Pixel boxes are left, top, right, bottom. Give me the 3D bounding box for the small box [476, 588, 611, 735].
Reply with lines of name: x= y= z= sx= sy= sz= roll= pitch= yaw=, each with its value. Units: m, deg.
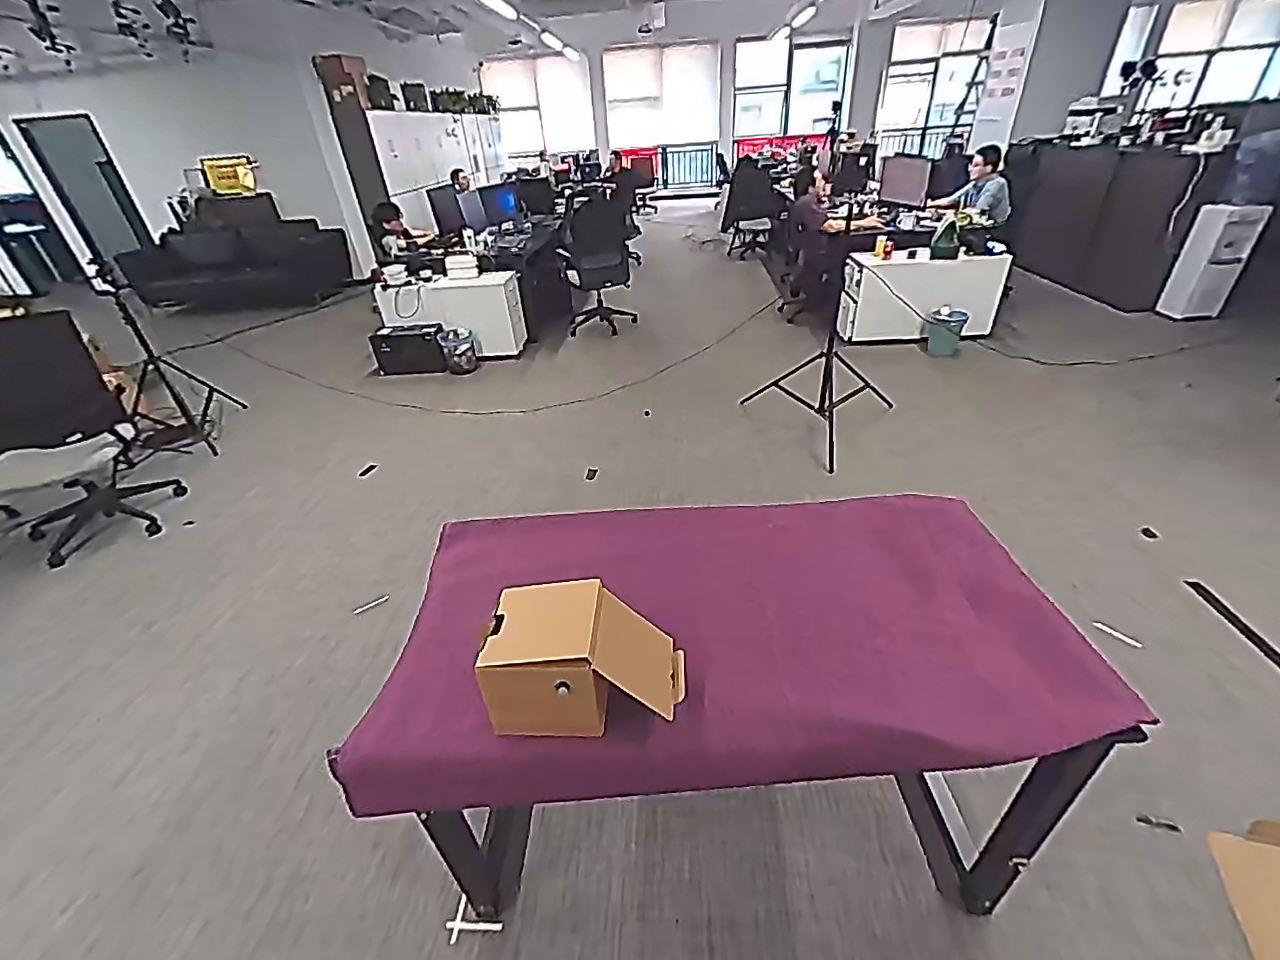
small box: x=-0.145 y=0.298 z=0.893 sx=0.179 sy=0.176 sz=0.168 roll=-2 pitch=31 yaw=5
